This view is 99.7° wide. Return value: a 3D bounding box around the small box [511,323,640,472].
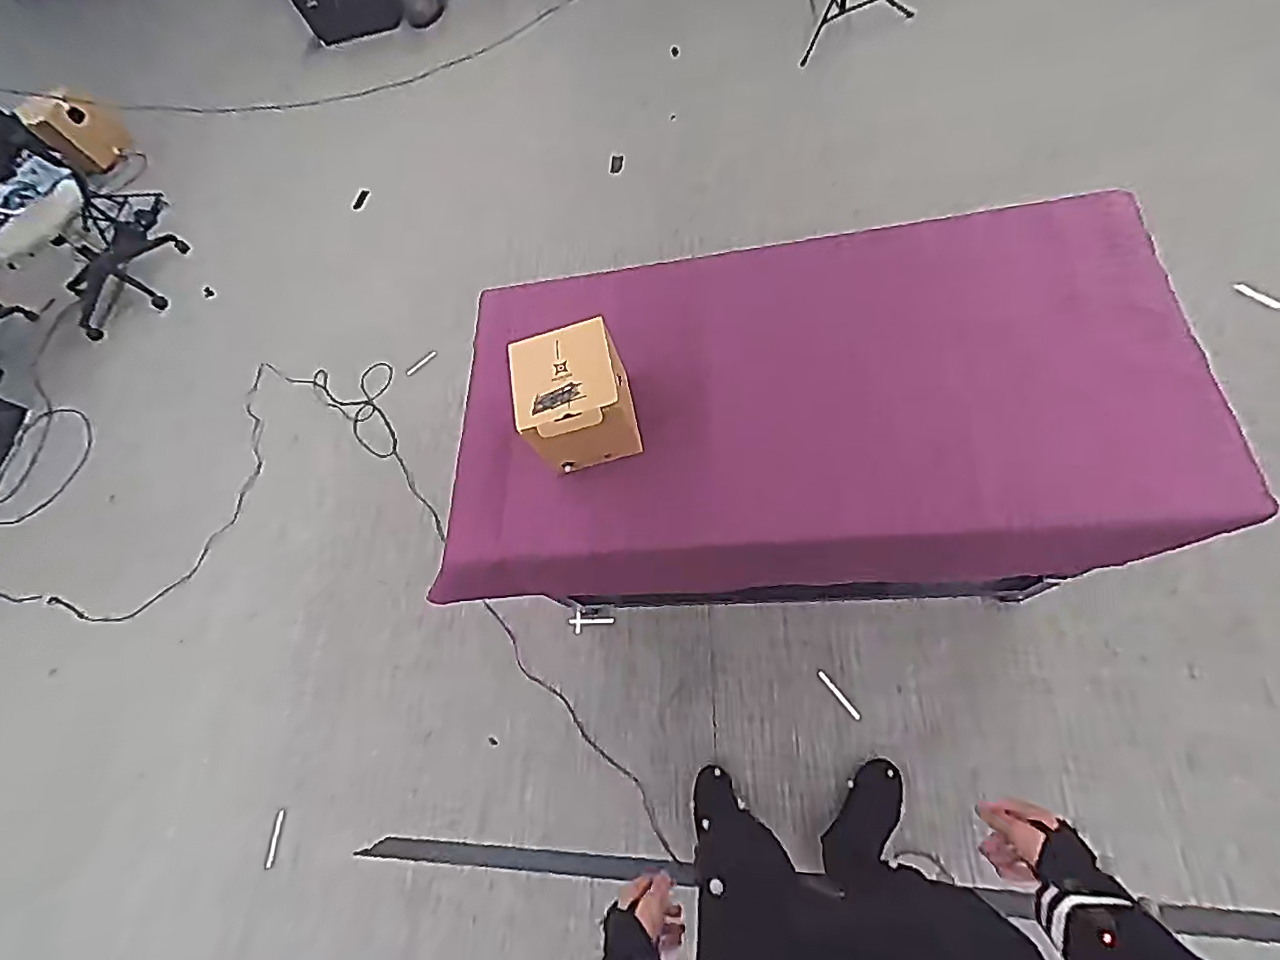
[{"bbox_3d":[-0.105,-0.129,0.927,0.168,0.176,0.179,-15,64,6],"label":"small box"}]
